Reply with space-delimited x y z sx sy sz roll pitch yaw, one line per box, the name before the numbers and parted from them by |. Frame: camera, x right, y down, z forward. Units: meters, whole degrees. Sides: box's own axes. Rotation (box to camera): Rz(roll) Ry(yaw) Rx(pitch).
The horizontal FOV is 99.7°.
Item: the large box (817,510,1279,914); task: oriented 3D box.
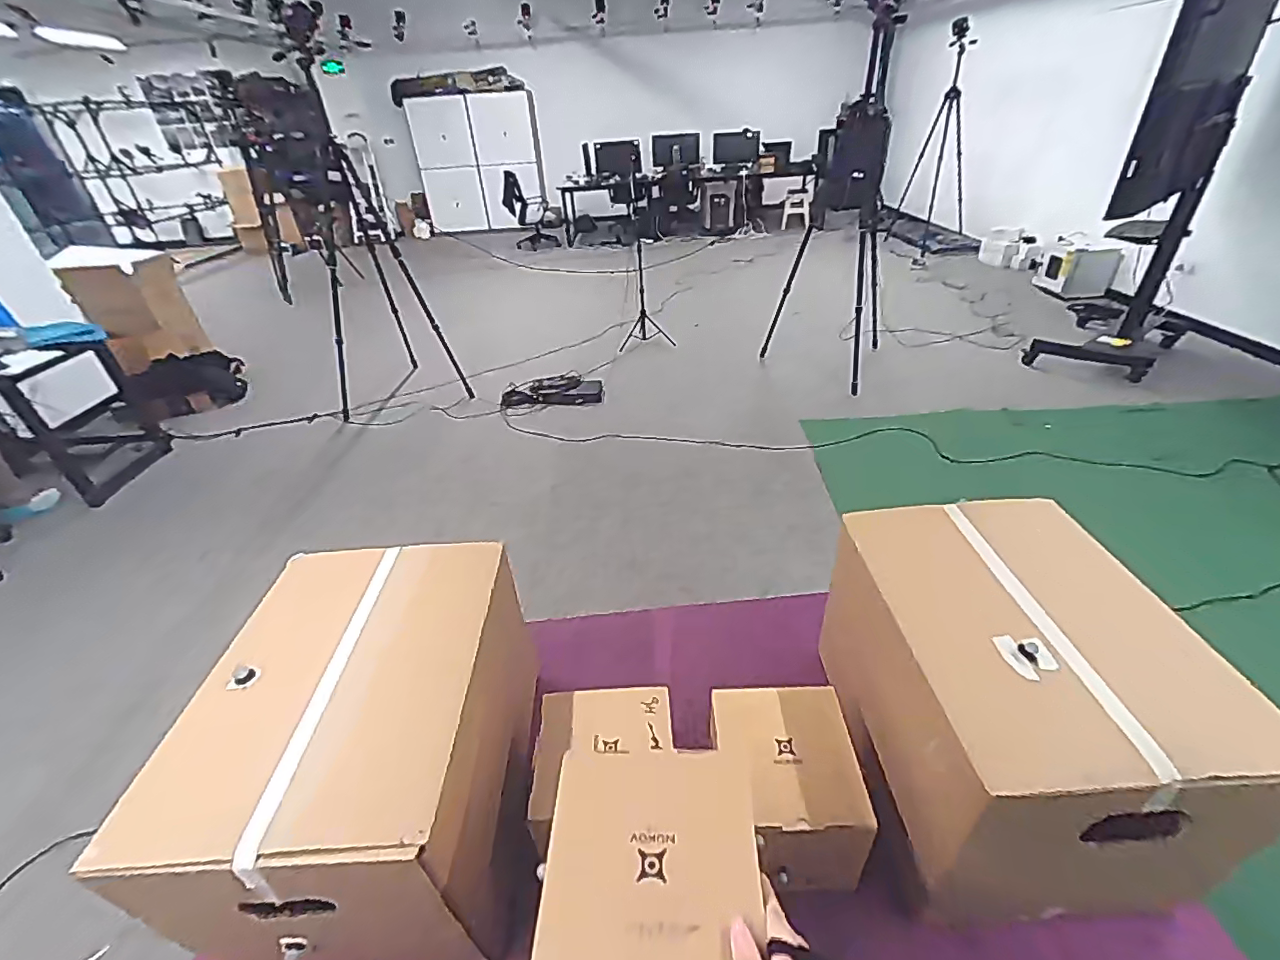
large box | 0.468 0.285 0.729 0.320 0.320 0.408 -3 35 1
